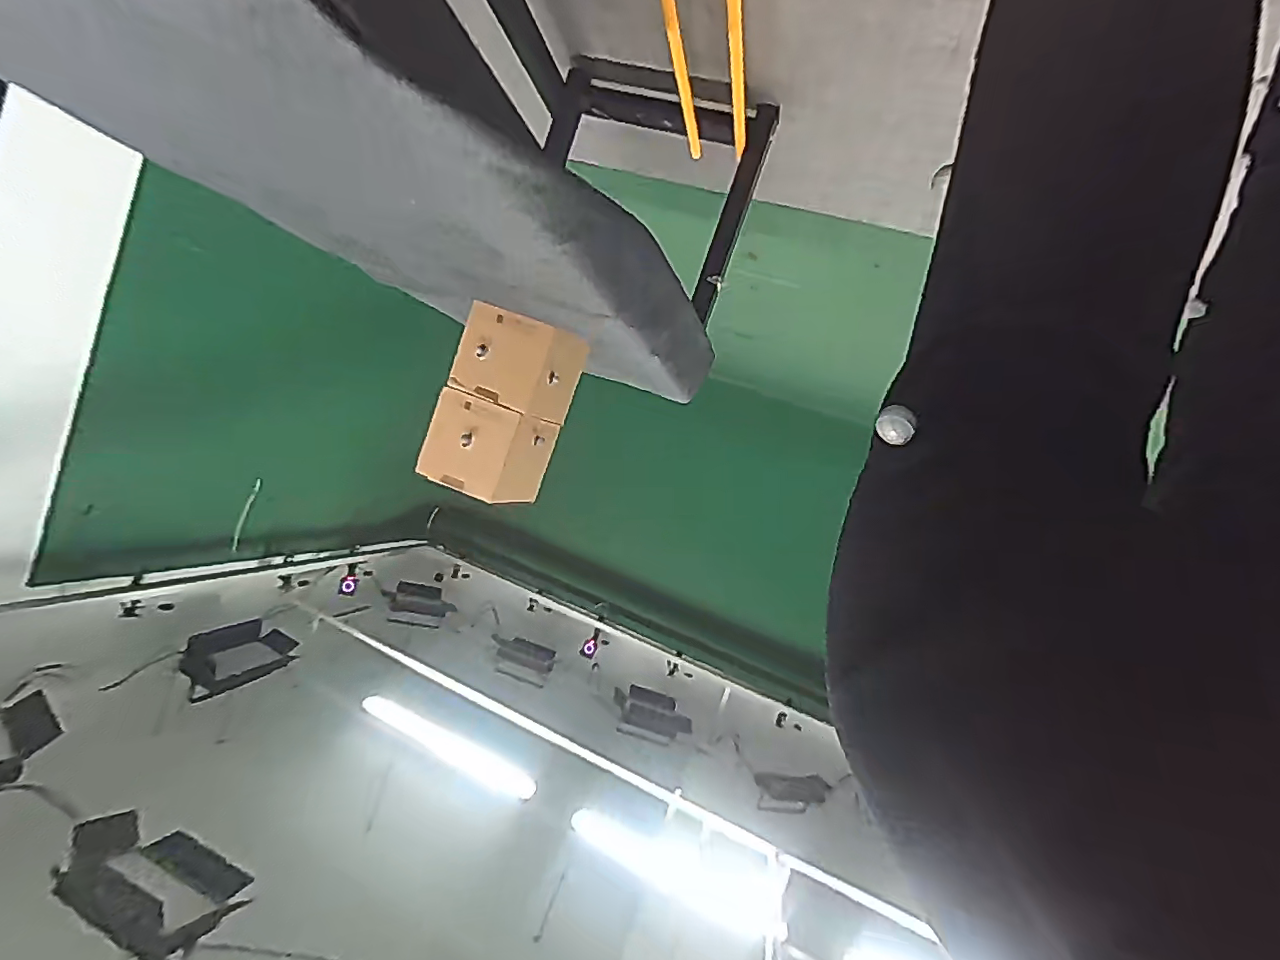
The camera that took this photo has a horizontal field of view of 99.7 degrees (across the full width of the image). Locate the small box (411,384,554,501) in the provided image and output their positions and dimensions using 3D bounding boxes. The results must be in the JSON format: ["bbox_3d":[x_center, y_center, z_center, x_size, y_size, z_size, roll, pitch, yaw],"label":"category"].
[{"bbox_3d":[-0.285,-0.068,1.009,0.168,0.176,0.179,21,-177,13],"label":"small box"}]

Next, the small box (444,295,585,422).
[{"bbox_3d":[-0.223,-0.220,0.997,0.168,0.176,0.179,21,-176,12],"label":"small box"}]
